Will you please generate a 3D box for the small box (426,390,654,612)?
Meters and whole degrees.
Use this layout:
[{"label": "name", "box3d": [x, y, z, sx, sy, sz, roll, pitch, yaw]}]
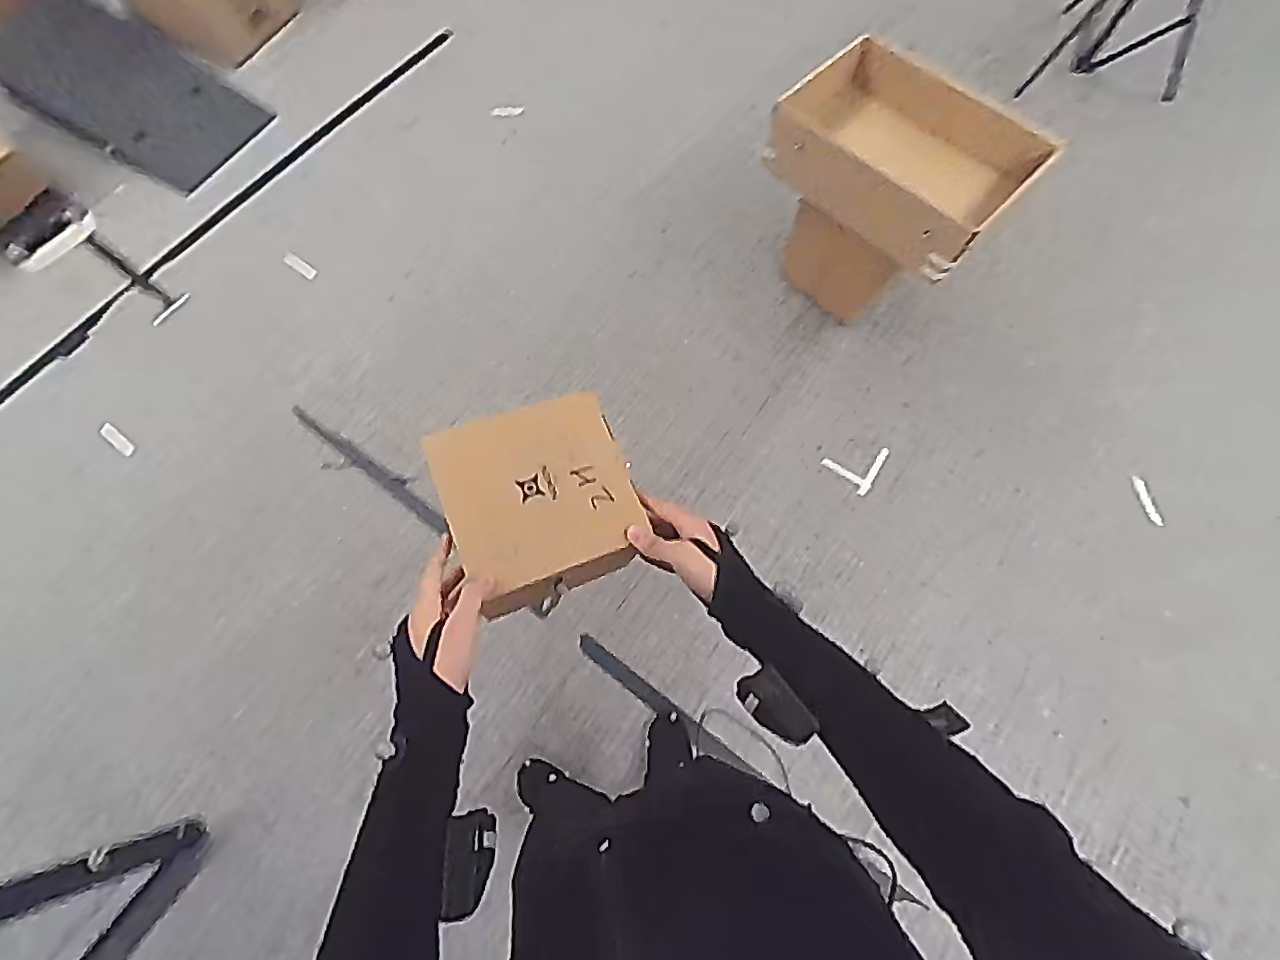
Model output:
[{"label": "small box", "box3d": [-0.108, 0.031, 0.582, 0.179, 0.176, 0.168, -18, 76, -18]}]
